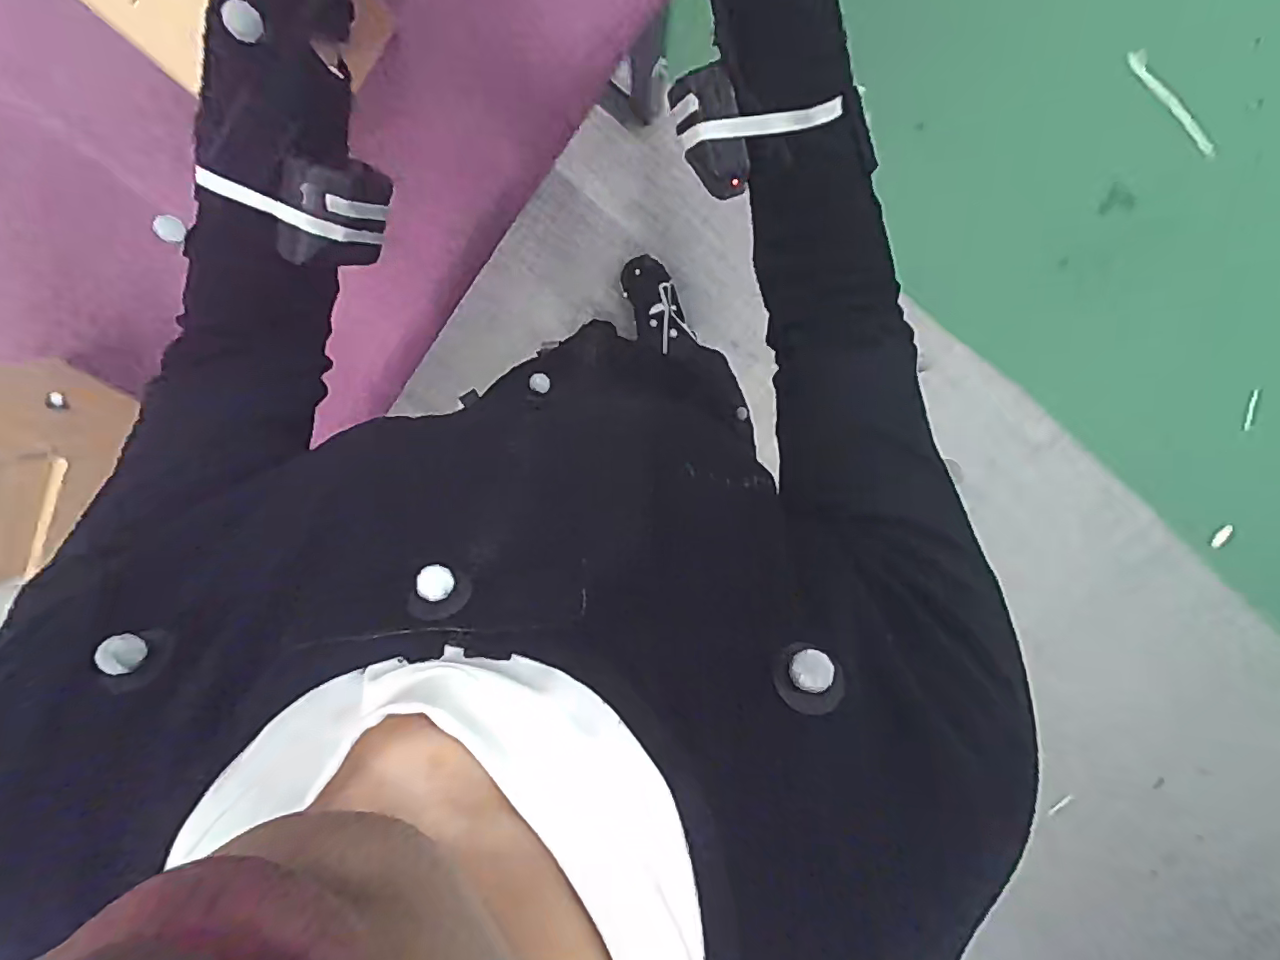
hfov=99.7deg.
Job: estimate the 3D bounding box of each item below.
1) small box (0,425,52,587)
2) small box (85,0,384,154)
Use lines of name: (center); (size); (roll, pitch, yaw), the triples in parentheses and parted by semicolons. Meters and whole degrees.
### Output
small box: (-0.718, 0.029, 0.499); (0.168, 0.176, 0.179); (28, 105, -9)
small box: (-0.378, -0.459, 0.513); (0.168, 0.176, 0.179); (43, 103, -10)
